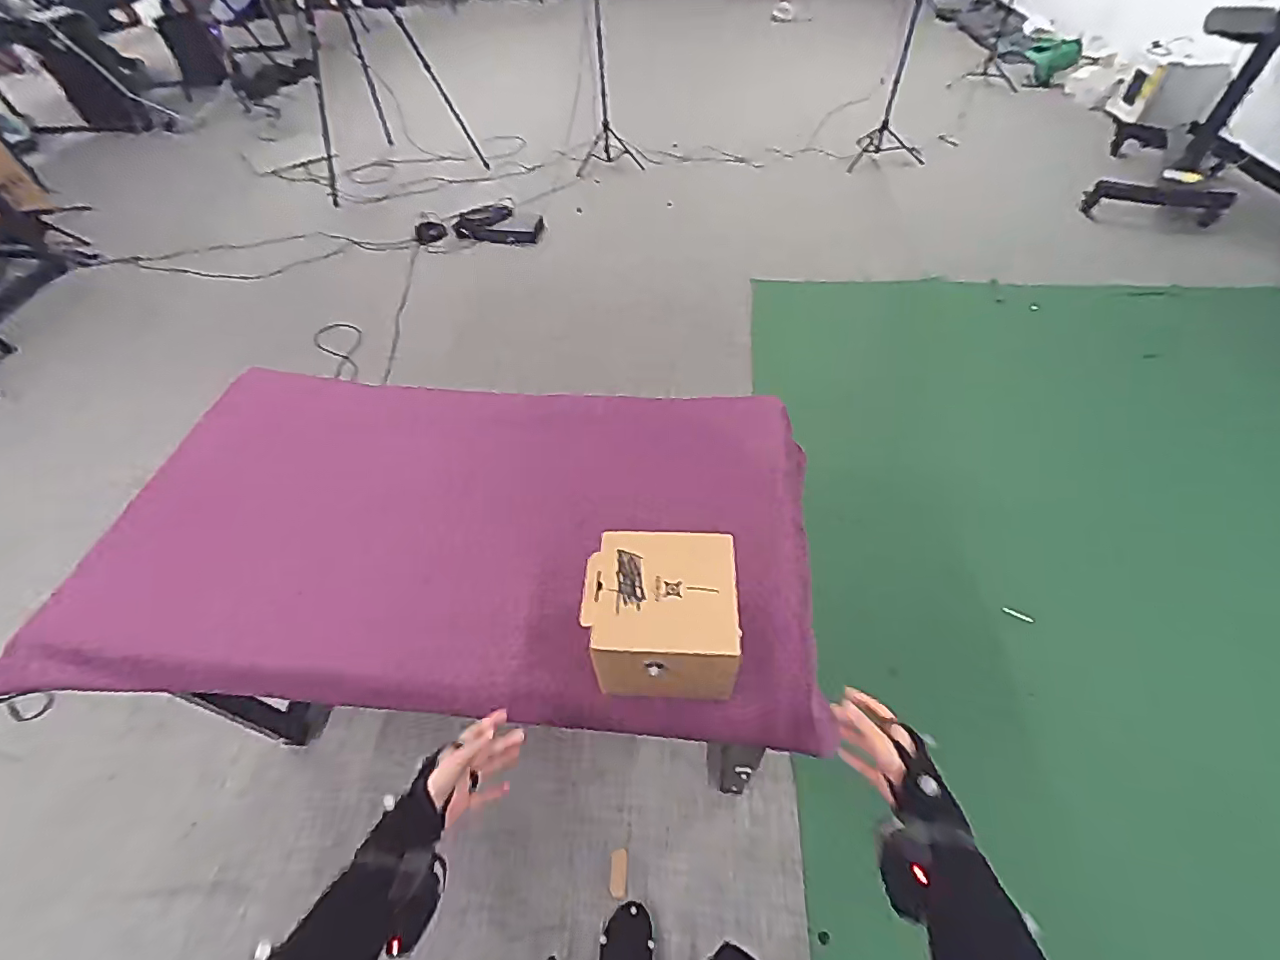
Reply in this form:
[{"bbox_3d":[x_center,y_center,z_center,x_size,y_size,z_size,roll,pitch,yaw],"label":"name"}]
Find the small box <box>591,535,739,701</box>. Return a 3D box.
[{"bbox_3d":[0.037,0.190,0.736,0.179,0.176,0.168,2,51,4],"label":"small box"}]
